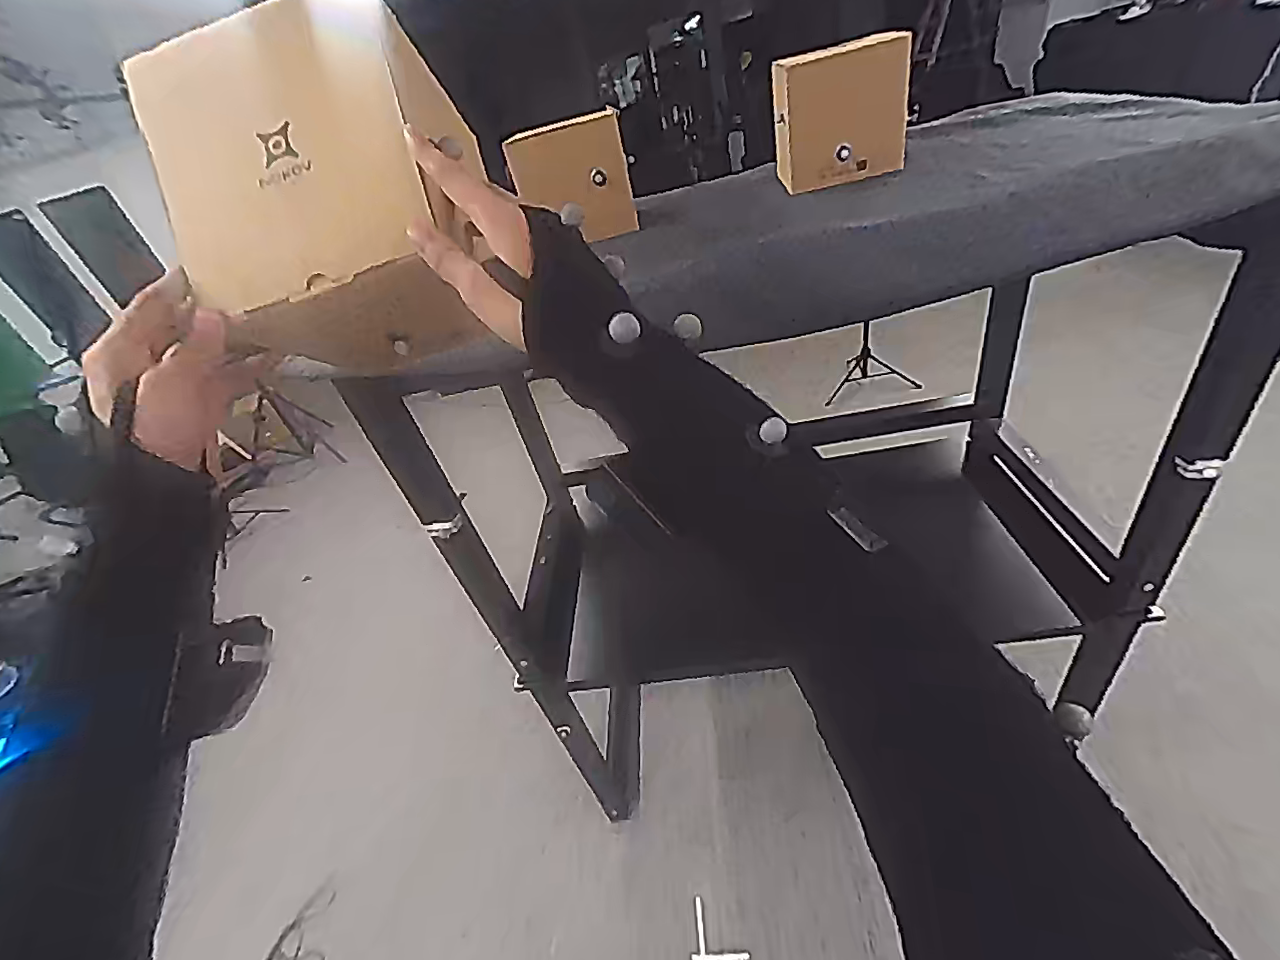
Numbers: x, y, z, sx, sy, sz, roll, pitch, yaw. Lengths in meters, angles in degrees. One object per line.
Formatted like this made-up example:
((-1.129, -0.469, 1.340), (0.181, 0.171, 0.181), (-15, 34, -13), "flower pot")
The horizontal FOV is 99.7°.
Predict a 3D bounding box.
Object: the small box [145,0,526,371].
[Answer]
((-0.205, -0.200, 0.413), (0.168, 0.179, 0.176), (-16, 1, 5), "small box")

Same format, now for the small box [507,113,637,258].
((-0.102, -0.494, 0.909), (0.179, 0.176, 0.168), (-11, 36, 5), "small box")
